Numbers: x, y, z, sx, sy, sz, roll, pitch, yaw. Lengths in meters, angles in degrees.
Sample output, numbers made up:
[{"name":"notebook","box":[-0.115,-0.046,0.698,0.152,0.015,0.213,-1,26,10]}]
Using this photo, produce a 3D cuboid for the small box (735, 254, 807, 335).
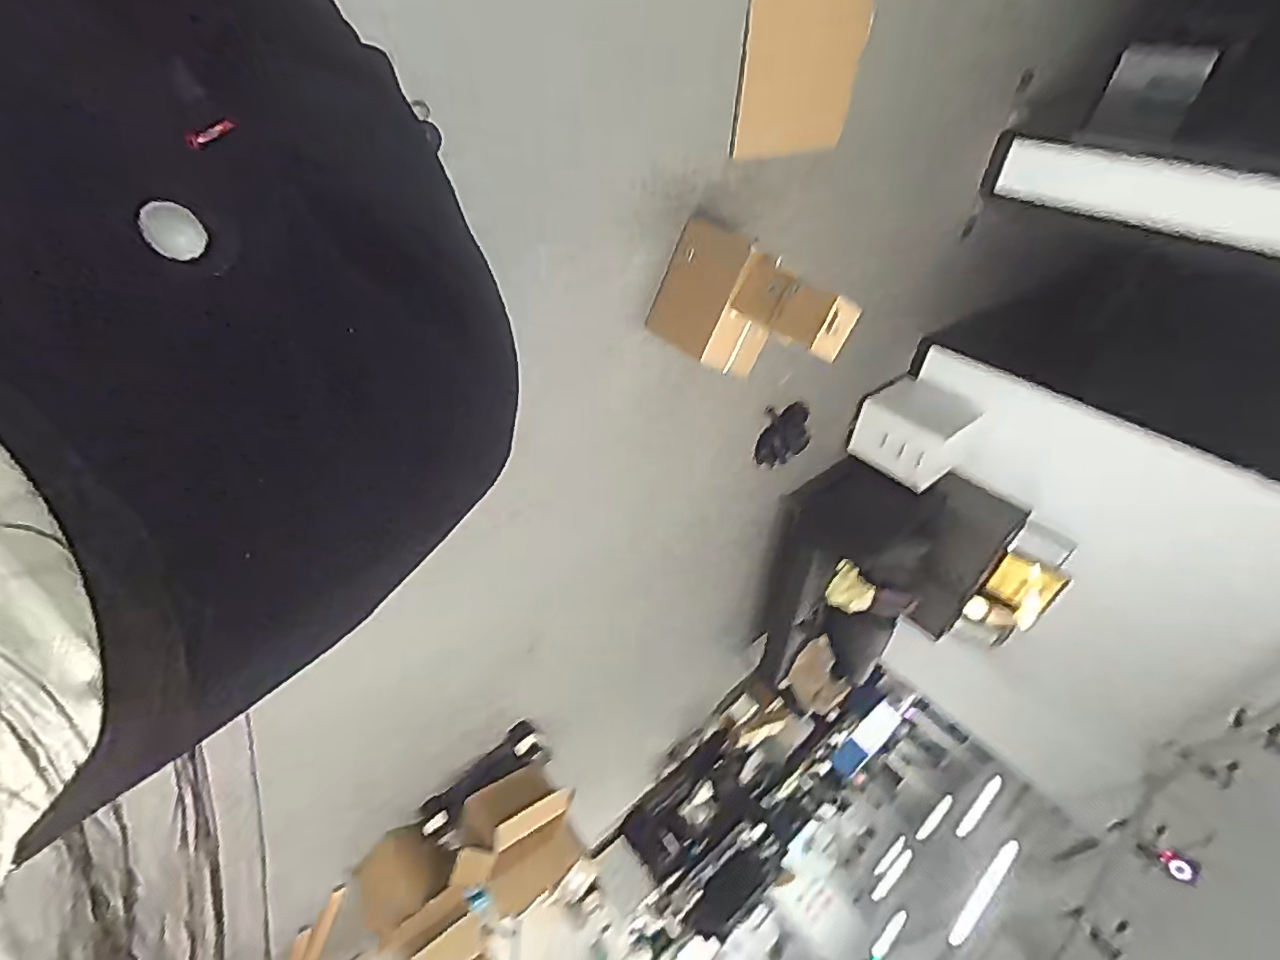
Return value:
[{"name":"small box","box":[0.437,-0.597,1.734,0.168,0.176,0.179,5,118,-50]}]

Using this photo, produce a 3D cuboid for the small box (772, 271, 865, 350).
[{"name":"small box","box":[0.531,-0.512,1.625,0.179,0.176,0.168,0,121,-45]}]
